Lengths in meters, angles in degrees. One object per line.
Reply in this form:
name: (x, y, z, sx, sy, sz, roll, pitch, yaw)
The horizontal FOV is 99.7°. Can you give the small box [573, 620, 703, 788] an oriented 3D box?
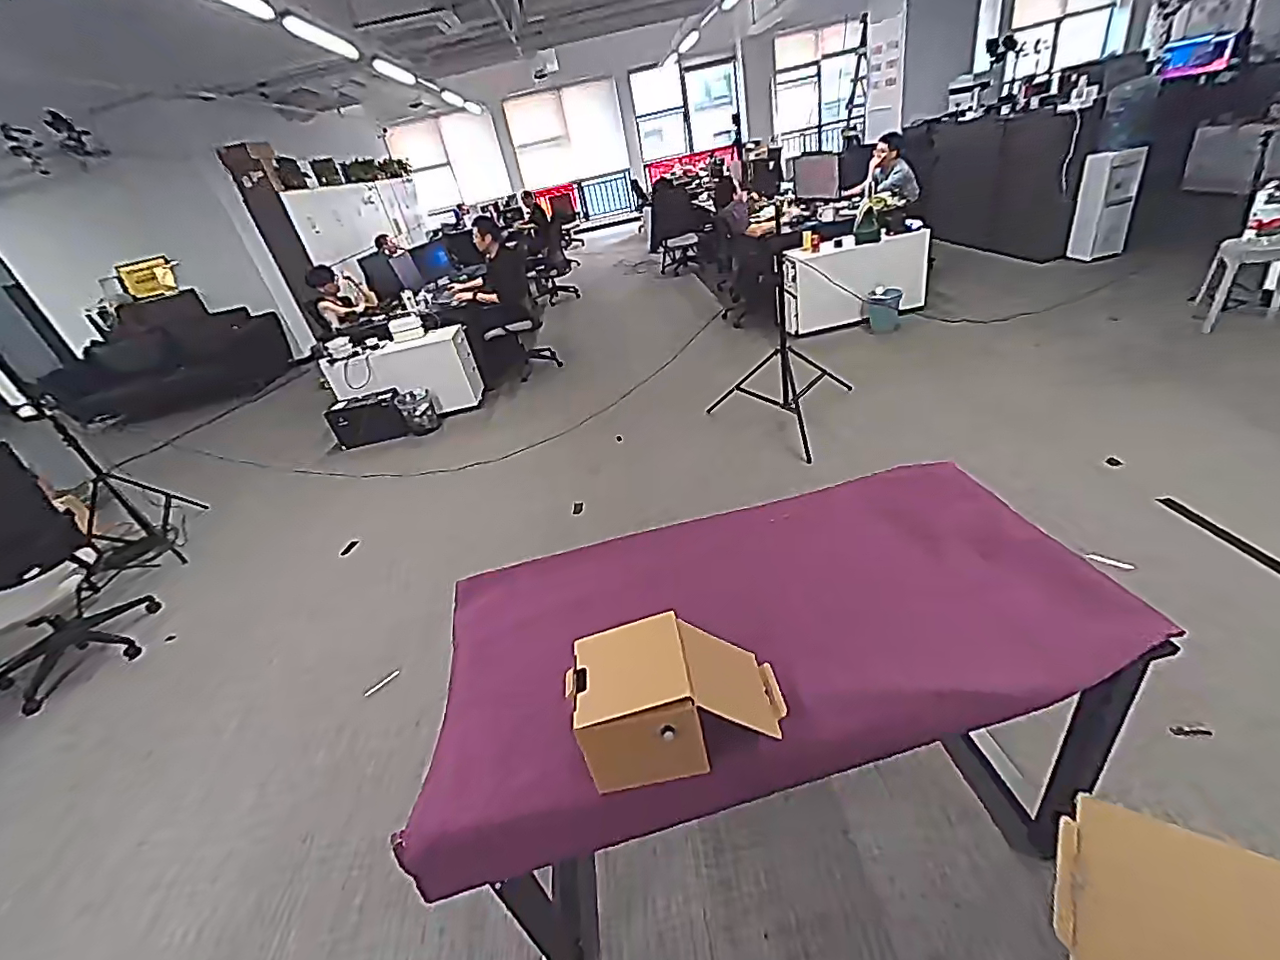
small box: (-0.001, 0.355, 0.859, 0.179, 0.176, 0.168, -12, 31, 2)
